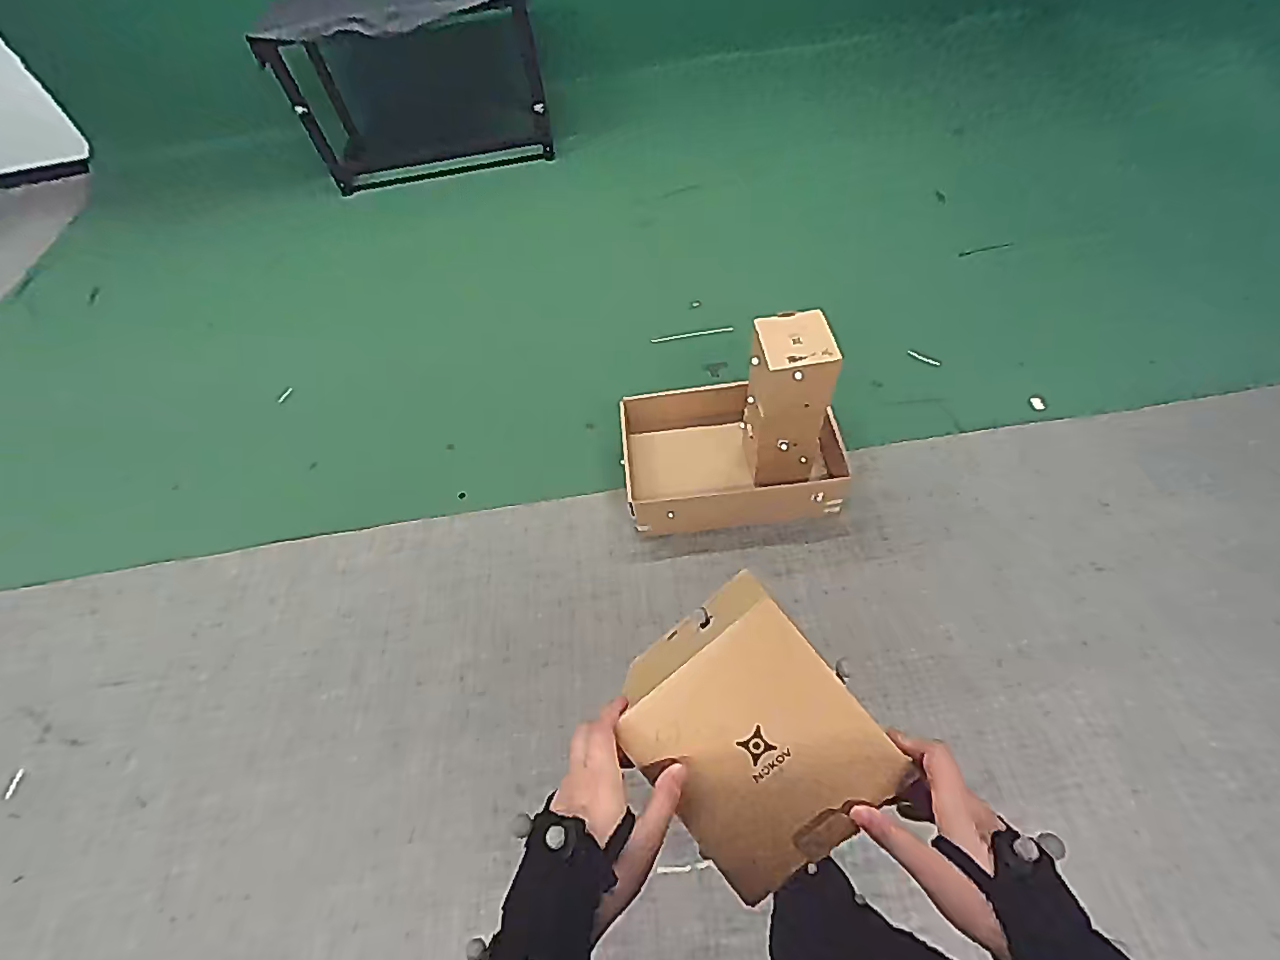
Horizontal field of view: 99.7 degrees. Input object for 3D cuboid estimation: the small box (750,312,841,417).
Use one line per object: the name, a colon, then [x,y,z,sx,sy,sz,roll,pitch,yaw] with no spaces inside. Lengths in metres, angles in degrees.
small box: [0.369,-0.279,1.319,0.168,0.176,0.179,-9,55,2]

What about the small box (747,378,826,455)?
small box: [0.386,-0.190,1.456,0.168,0.176,0.179,-6,57,4]
